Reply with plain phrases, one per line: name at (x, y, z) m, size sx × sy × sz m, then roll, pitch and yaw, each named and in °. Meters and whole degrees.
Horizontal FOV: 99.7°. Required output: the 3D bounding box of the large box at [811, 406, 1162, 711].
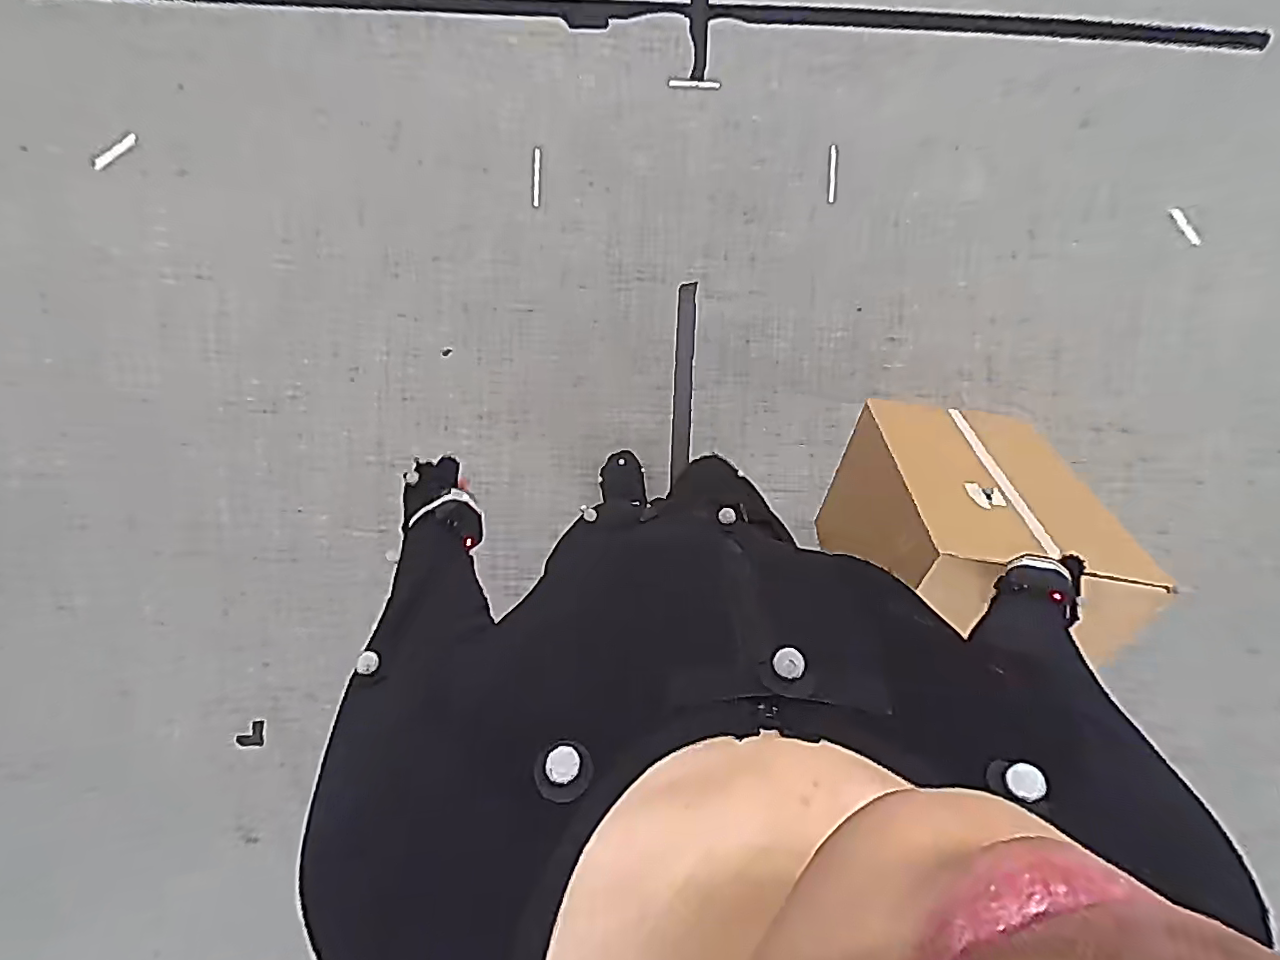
large box at (0.529, 0.122, 0.950) m, size 0.320 × 0.408 × 0.320 m, roll 9°, pitch 128°, yaw 0°
